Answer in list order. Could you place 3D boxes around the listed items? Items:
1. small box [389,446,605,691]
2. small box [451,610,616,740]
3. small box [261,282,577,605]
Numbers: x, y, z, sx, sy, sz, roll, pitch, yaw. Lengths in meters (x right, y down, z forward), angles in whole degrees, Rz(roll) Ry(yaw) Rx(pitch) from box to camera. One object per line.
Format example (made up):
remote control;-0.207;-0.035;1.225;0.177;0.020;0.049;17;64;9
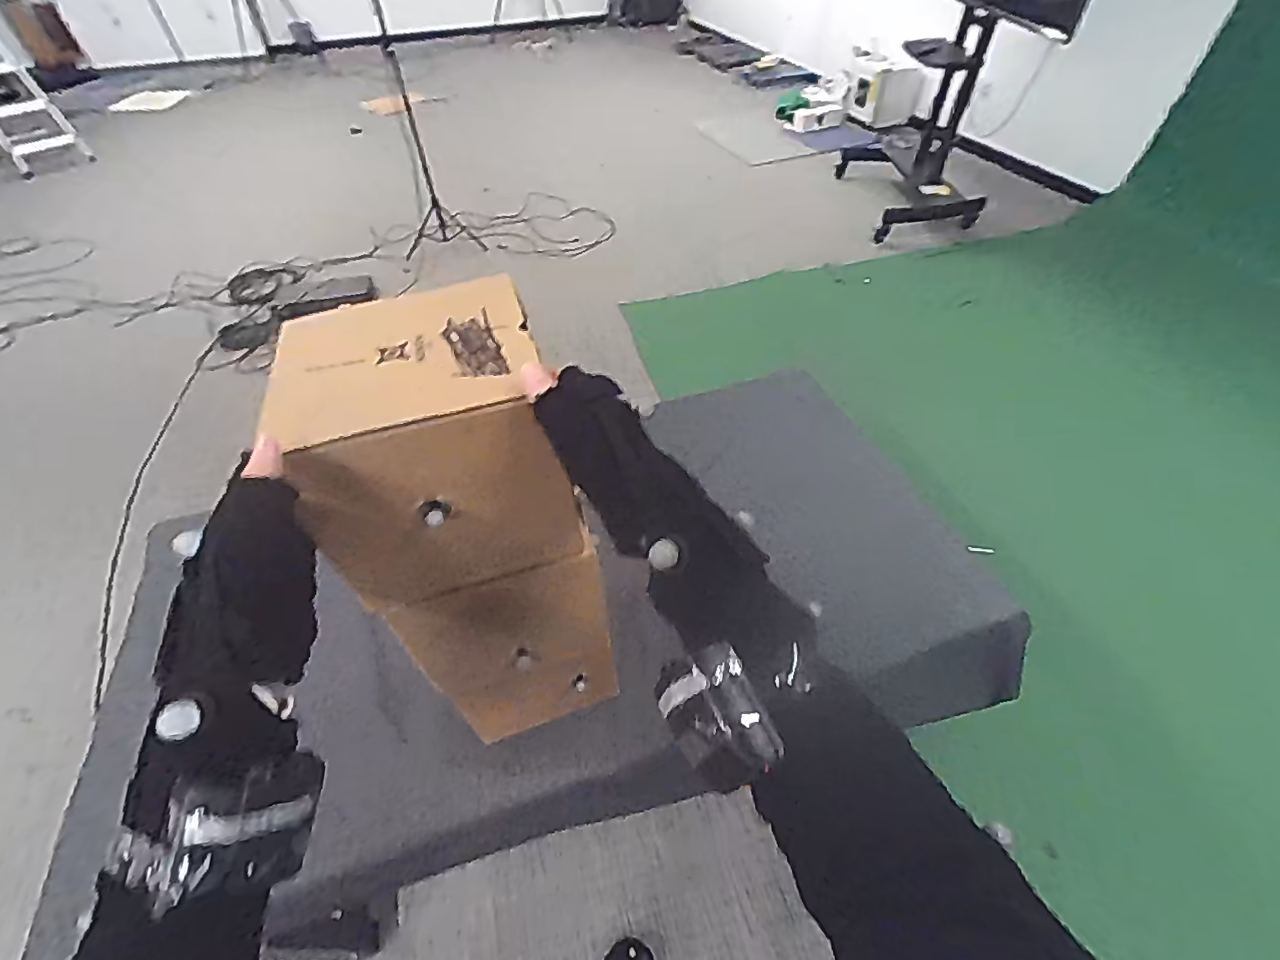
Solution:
small box;-0.137;0.086;0.551;0.179;0.176;0.168;-14;47;-11
small box;-0.134;0.192;0.675;0.179;0.176;0.168;-18;48;-12
small box;-0.153;-0.029;0.431;0.179;0.176;0.168;-15;47;-10
